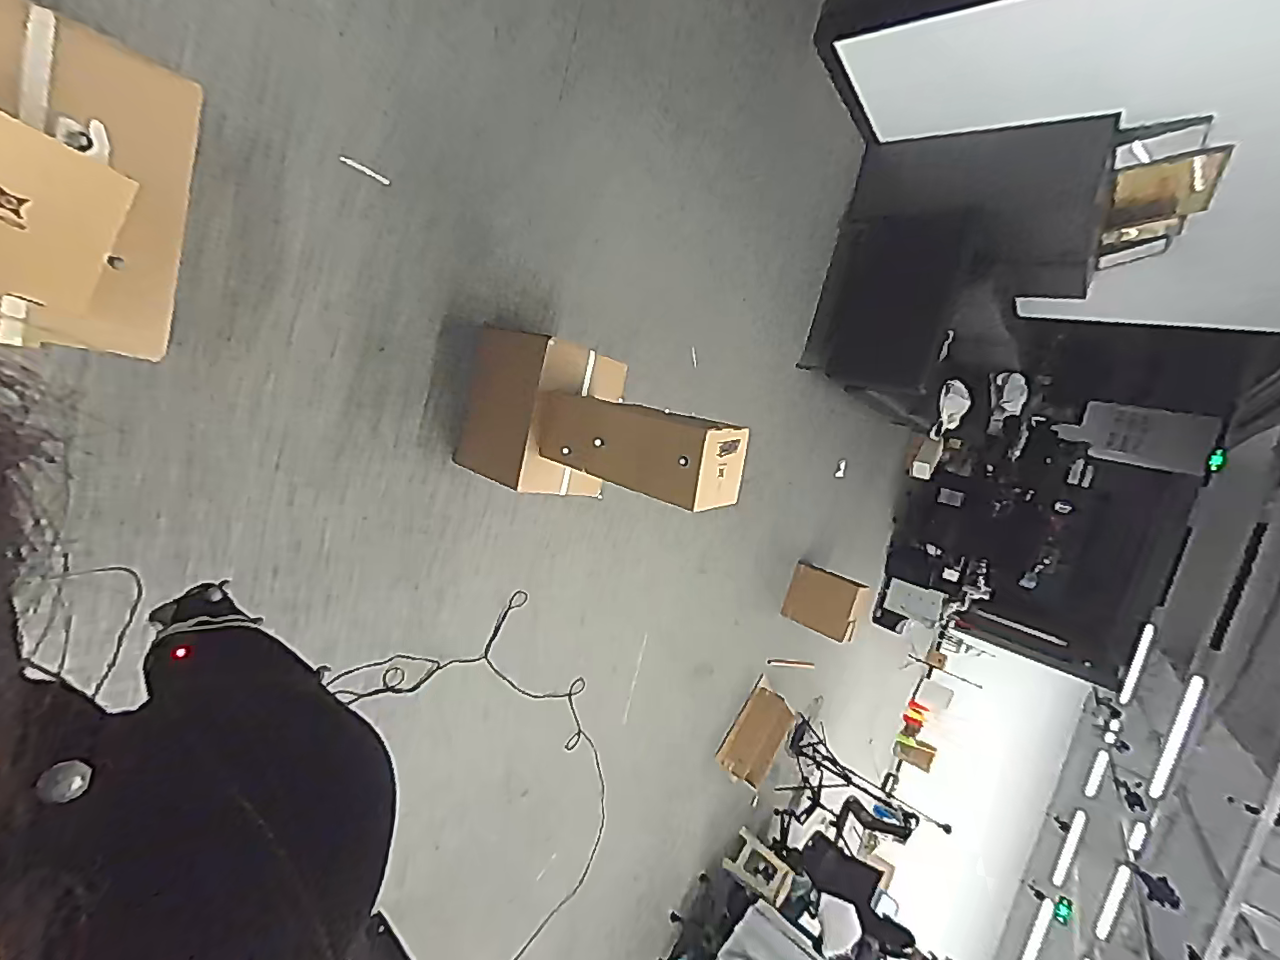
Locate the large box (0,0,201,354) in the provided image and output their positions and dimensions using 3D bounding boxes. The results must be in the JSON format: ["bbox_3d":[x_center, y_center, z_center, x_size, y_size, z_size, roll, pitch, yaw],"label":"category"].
[{"bbox_3d":[-0.877,-0.422,0.777,0.320,0.320,0.408,5,100,-51],"label":"large box"}]

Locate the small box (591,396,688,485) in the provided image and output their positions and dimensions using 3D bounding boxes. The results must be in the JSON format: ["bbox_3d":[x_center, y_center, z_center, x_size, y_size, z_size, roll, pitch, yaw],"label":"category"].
[{"bbox_3d":[0.000,-0.099,1.310,0.168,0.176,0.179,-7,111,-47],"label":"small box"}]

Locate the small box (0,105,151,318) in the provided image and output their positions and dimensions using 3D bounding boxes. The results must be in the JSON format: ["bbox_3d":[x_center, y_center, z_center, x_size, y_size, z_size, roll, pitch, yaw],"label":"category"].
[{"bbox_3d":[-0.713,-0.310,0.624,0.168,0.176,0.179,22,88,-50],"label":"small box"}]

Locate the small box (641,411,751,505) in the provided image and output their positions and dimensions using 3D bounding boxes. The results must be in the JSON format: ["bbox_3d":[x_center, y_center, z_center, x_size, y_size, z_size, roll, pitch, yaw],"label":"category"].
[{"bbox_3d":[0.121,-0.057,1.205,0.168,0.176,0.179,-8,111,-47],"label":"small box"}]
